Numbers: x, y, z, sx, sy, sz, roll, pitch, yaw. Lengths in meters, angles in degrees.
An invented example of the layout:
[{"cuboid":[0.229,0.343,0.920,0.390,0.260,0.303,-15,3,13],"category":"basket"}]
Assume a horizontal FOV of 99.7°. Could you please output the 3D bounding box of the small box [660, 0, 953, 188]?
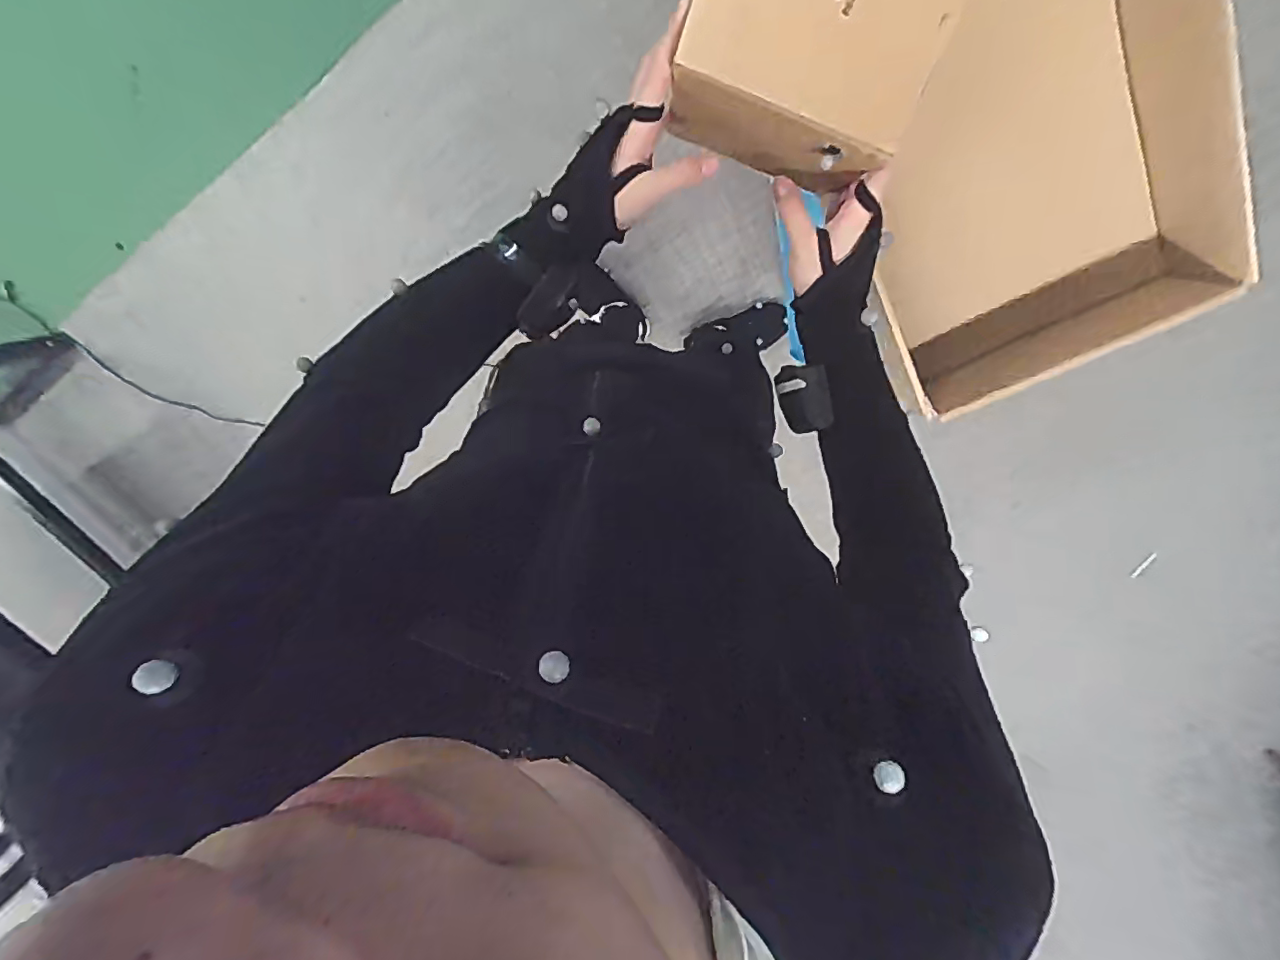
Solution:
[{"cuboid":[0.122,-0.358,0.435,0.179,0.176,0.168,17,108,-7],"category":"small box"}]
